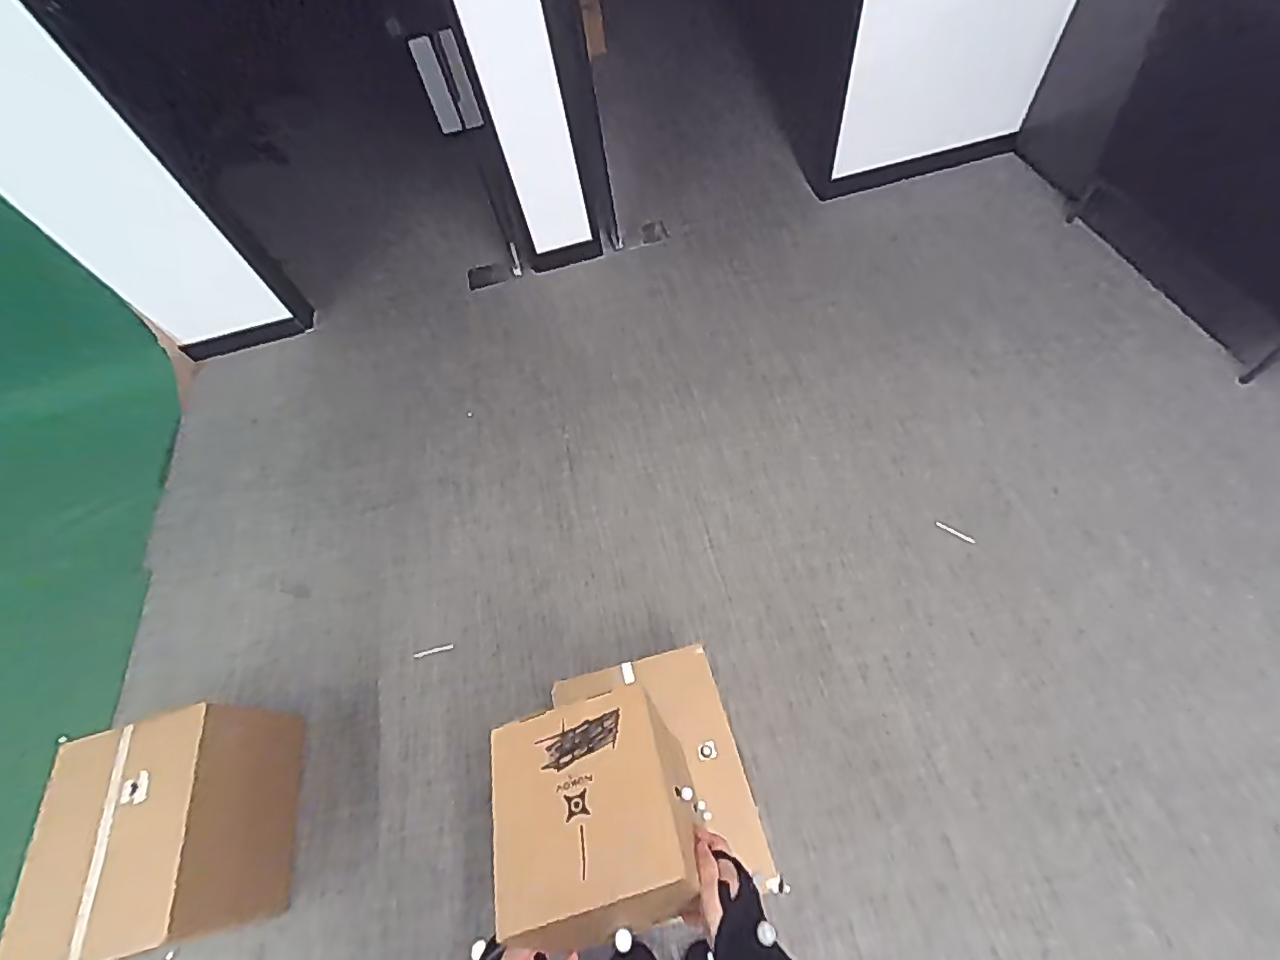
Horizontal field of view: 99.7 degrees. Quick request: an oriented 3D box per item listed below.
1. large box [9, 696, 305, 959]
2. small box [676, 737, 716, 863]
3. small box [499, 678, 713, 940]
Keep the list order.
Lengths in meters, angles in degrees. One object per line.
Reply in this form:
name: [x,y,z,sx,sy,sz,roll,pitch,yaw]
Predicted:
large box: [-0.968,0.731,1.150,0.320,0.320,0.408,-16,58,-1]
small box: [0.013,0.521,0.853,0.179,0.176,0.168,-18,59,0]
small box: [-0.034,0.340,0.557,0.168,0.176,0.179,-19,46,1]
